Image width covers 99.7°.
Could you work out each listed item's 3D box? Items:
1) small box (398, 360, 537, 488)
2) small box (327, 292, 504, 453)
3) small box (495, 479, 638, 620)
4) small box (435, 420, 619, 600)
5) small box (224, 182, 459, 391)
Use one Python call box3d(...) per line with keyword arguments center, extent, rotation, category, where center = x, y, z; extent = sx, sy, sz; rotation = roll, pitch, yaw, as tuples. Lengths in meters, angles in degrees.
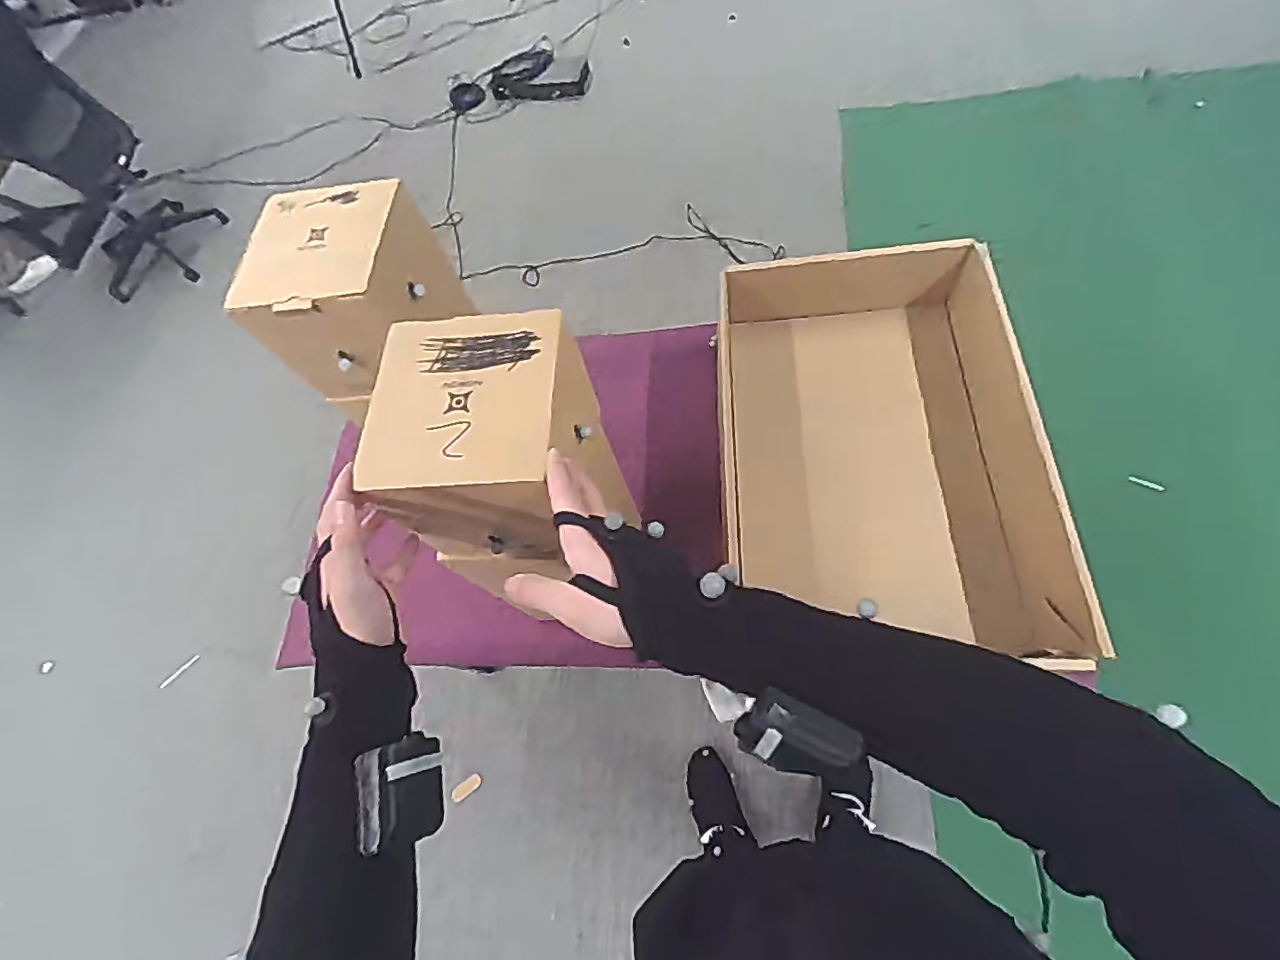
box3d(center=(-0.289, -0.086, 0.949), extent=(0.168, 0.176, 0.179), rotation=(-1, 65, 8), category="small box")
box3d(center=(-0.316, -0.148, 0.802), extent=(0.168, 0.176, 0.179), rotation=(-2, 65, 8), category="small box")
box3d(center=(-0.099, 0.111, 0.822), extent=(0.168, 0.176, 0.179), rotation=(-1, 65, 9), category="small box")
box3d(center=(-0.124, 0.042, 0.675), extent=(0.168, 0.176, 0.179), rotation=(-1, 65, 10), category="small box")
box3d(center=(-0.340, -0.220, 0.656), extent=(0.168, 0.176, 0.179), rotation=(-2, 66, 8), category="small box")
